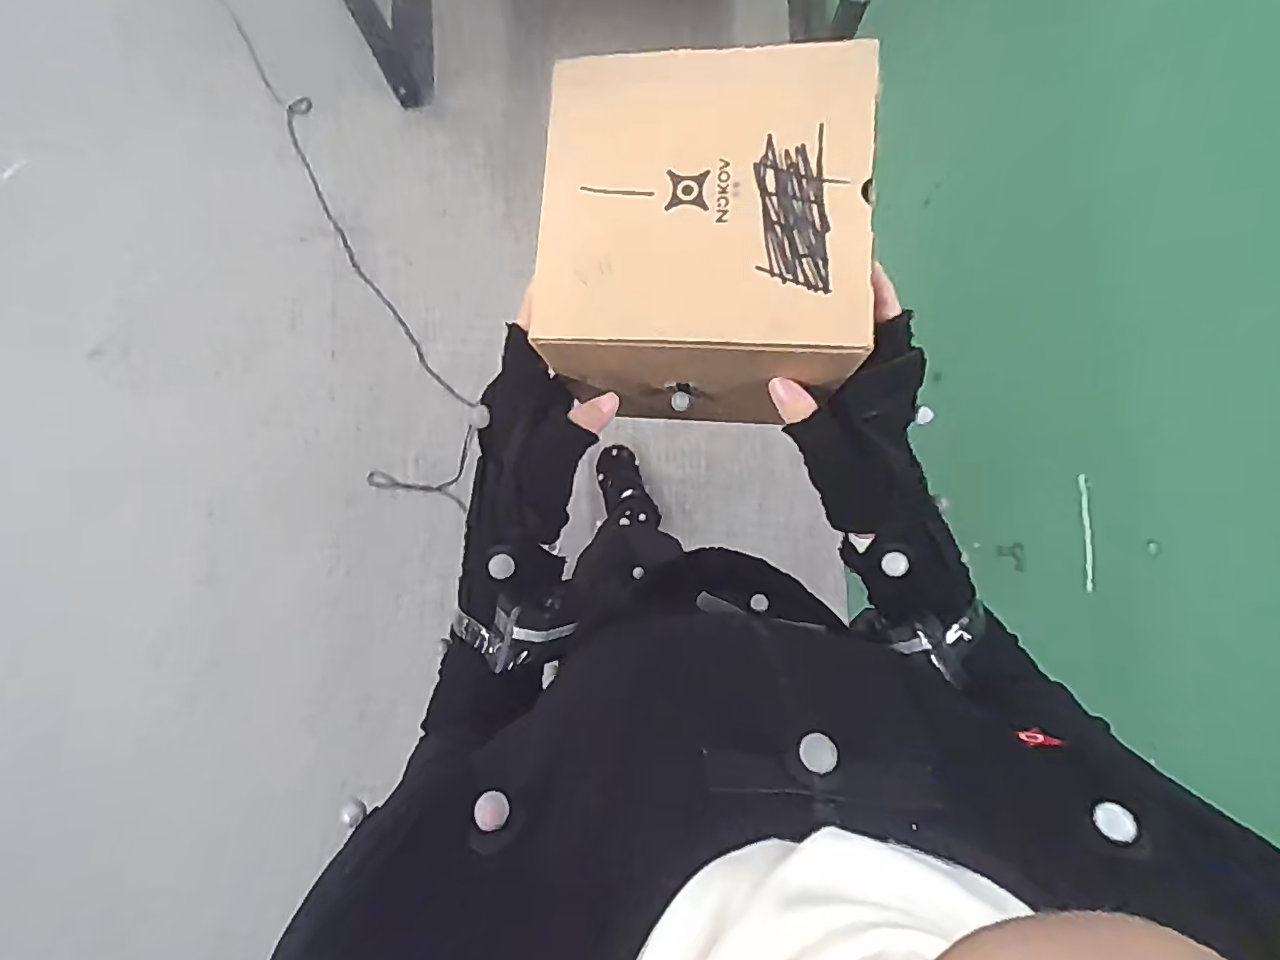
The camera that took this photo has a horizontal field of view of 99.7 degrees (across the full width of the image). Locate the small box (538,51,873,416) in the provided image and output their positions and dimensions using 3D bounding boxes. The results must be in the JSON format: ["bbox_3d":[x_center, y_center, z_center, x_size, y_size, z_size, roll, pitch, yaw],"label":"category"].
[{"bbox_3d":[0.040,-0.143,0.369,0.179,0.176,0.168,1,83,5],"label":"small box"}]
